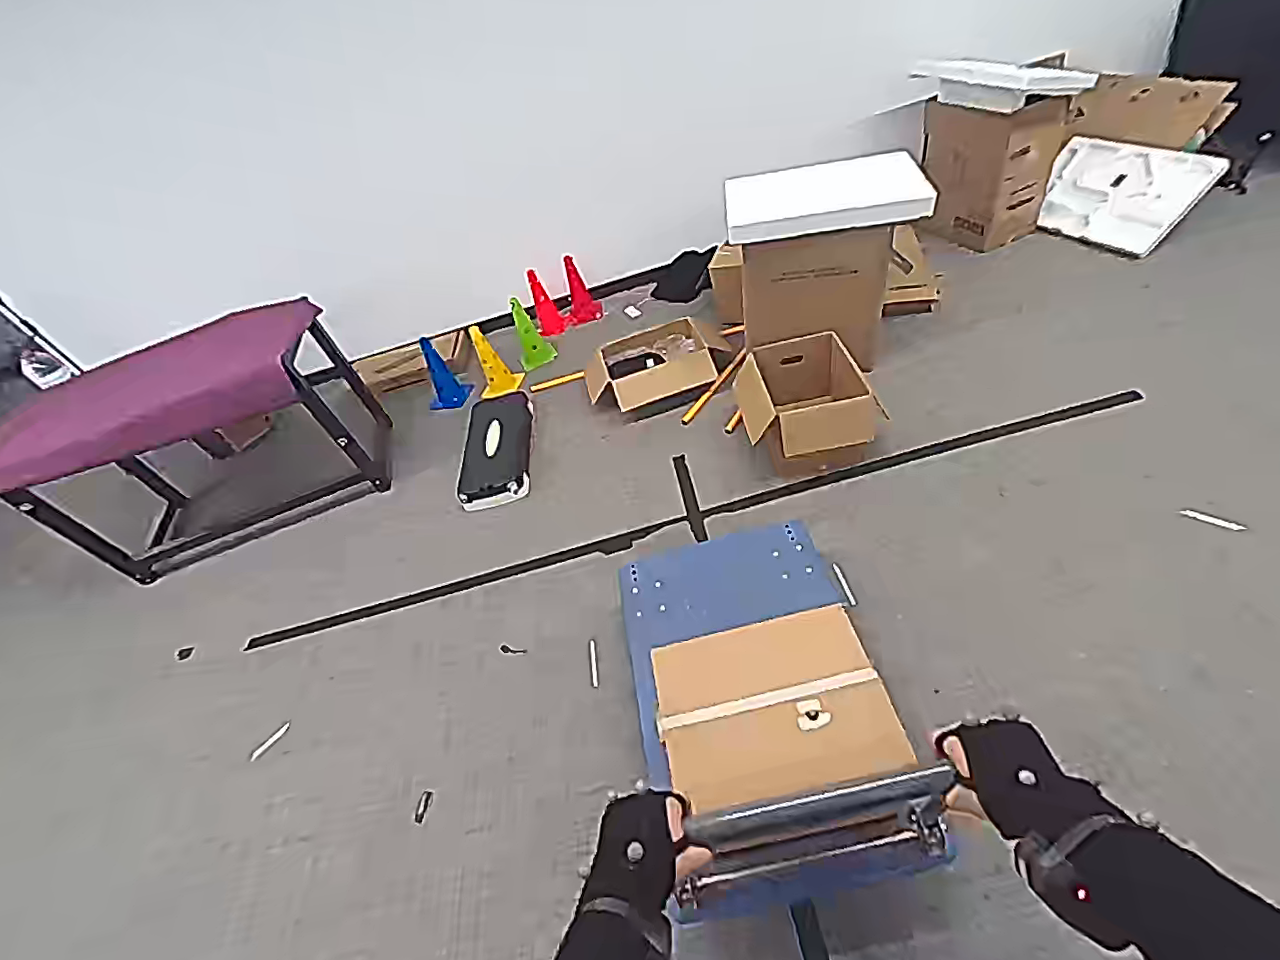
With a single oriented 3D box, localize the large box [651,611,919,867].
[{"bbox_3d":[0.264,0.518,1.076,0.408,0.320,0.320,-14,44,2],"label":"large box"}]
